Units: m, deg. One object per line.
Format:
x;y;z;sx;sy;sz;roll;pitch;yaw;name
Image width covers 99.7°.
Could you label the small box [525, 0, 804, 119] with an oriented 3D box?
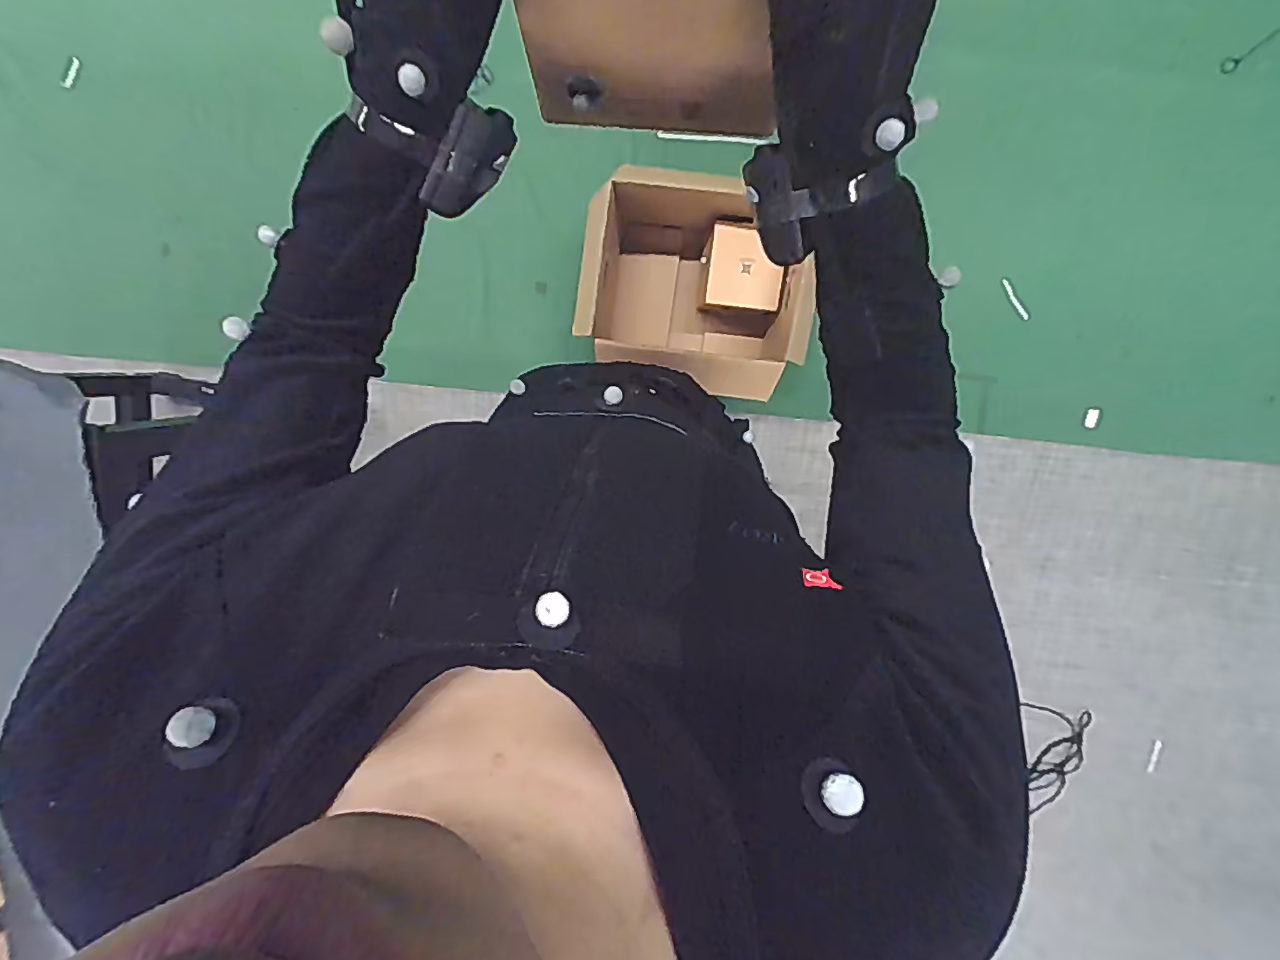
0.020;-0.351;0.314;0.168;0.176;0.179;5;82;2;small box
